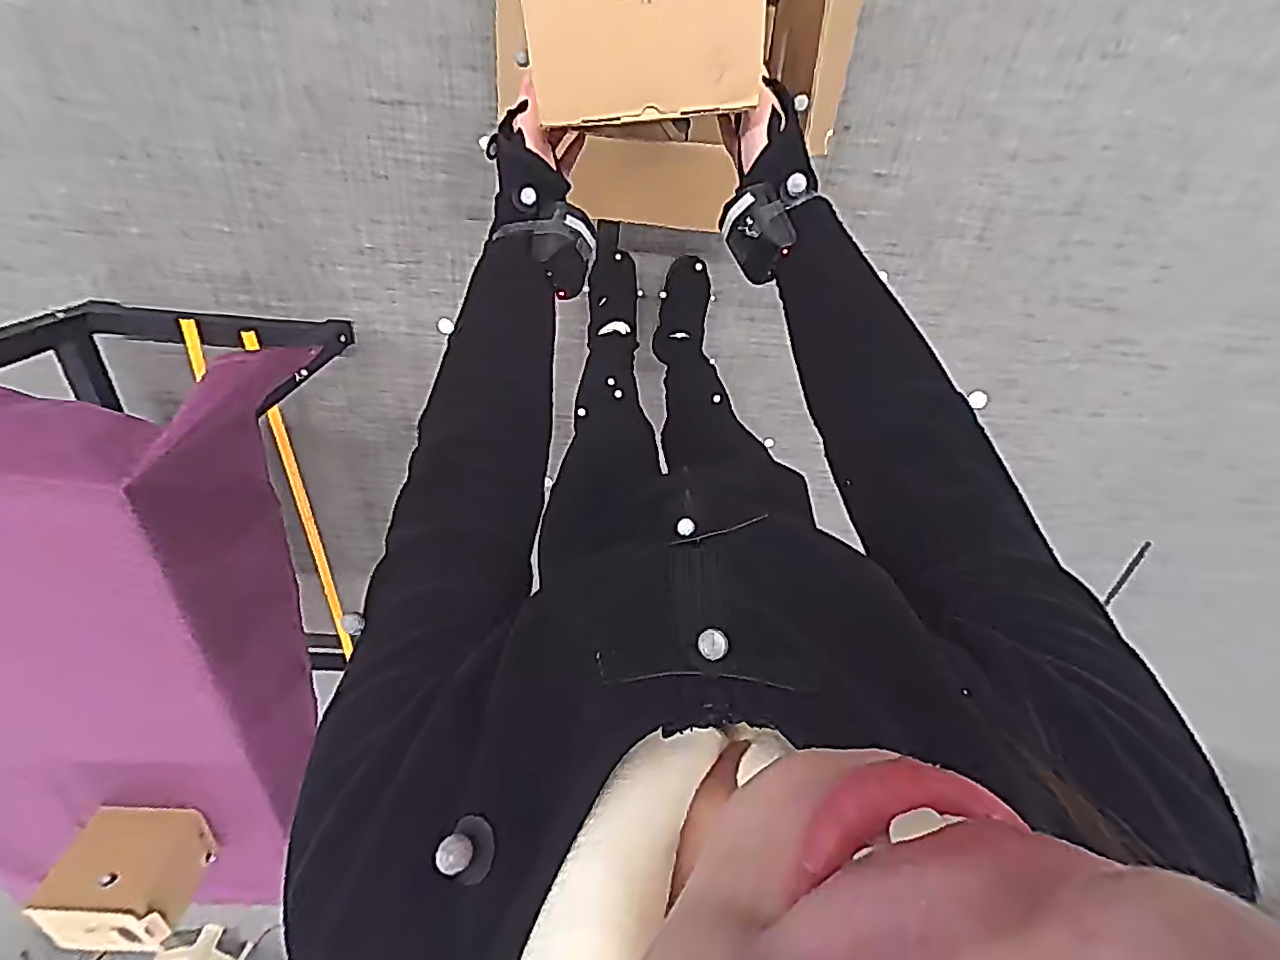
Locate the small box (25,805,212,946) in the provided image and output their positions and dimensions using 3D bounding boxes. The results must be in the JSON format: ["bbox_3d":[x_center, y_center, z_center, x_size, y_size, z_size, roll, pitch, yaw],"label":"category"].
[{"bbox_3d":[-0.947,0.735,1.012,0.179,0.176,0.168,7,121,-6],"label":"small box"}]

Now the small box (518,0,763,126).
[{"bbox_3d":[-0.006,-0.382,0.406,0.168,0.176,0.179,-6,127,-3],"label":"small box"}]
